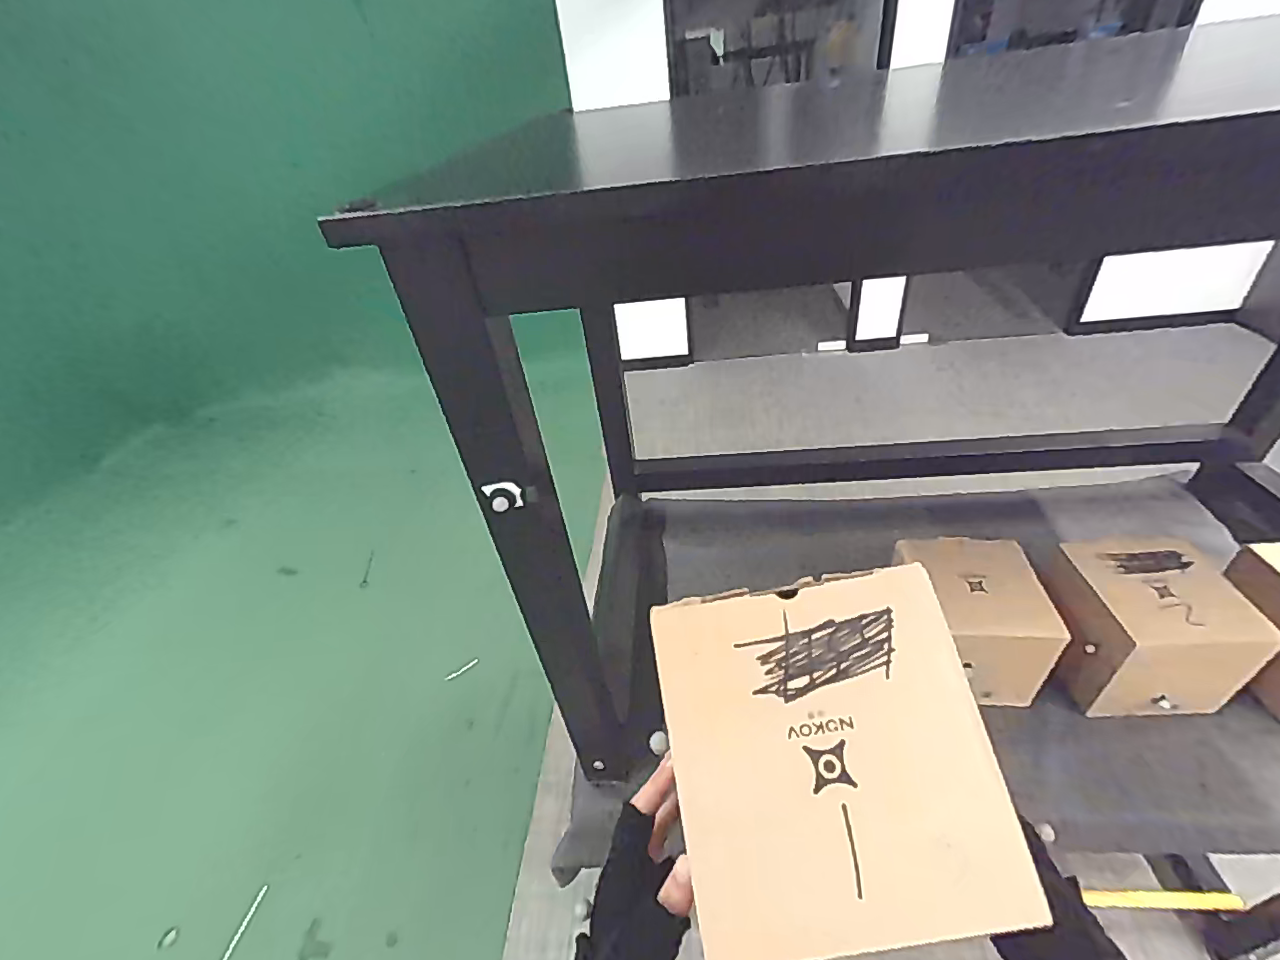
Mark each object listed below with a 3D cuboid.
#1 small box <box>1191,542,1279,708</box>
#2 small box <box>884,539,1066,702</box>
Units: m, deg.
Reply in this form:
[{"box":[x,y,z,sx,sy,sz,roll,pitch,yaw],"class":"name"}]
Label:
[{"box":[0.915,0.198,0.717,0.168,0.176,0.179,-4,37,5],"class":"small box"},{"box":[0.475,0.206,0.800,0.168,0.176,0.179,-1,38,10],"class":"small box"}]
